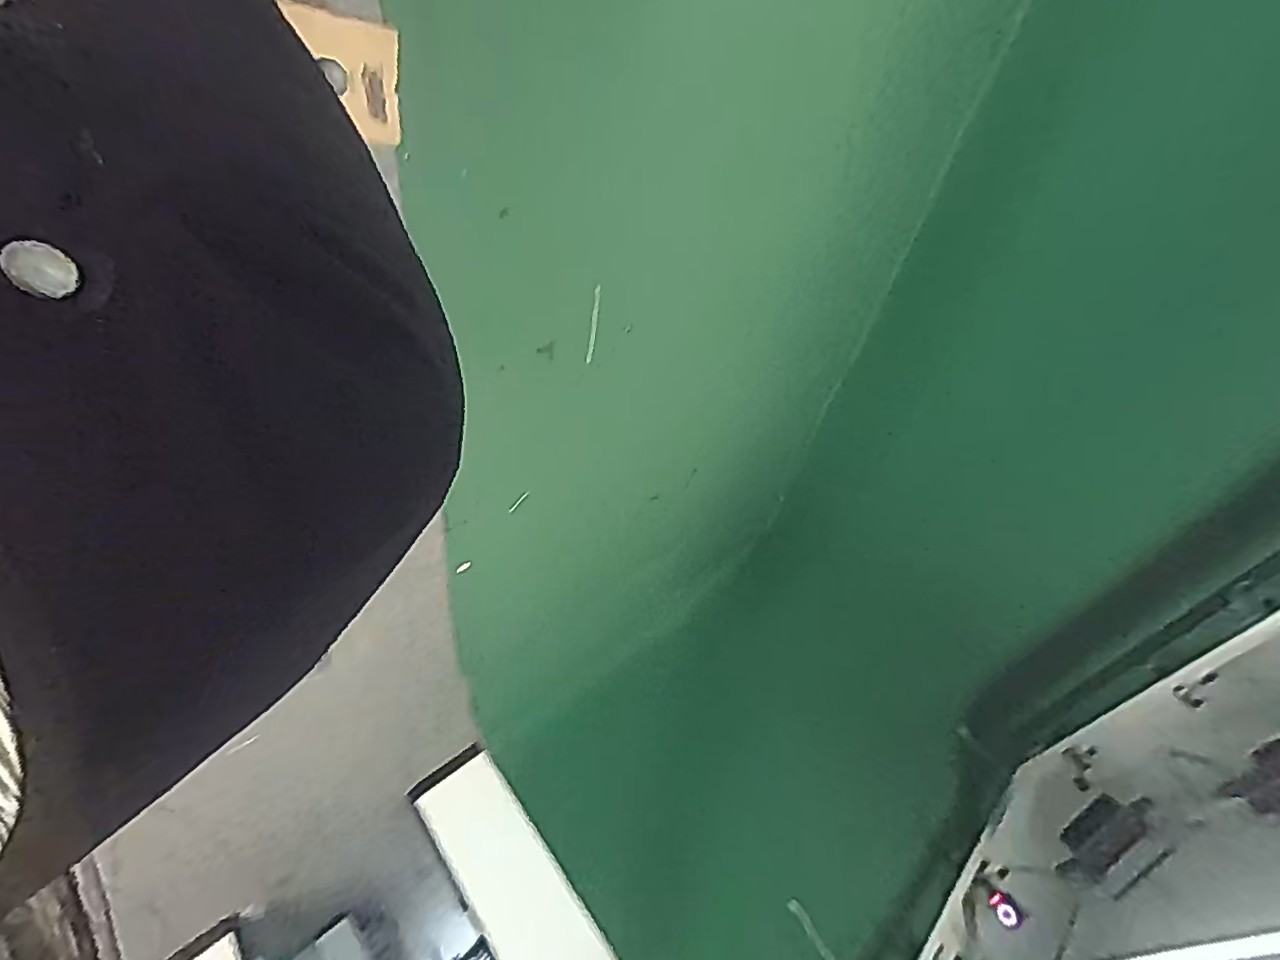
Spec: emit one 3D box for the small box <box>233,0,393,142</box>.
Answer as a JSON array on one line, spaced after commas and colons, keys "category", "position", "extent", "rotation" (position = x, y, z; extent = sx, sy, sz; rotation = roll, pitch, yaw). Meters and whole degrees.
[{"category": "small box", "position": [-0.533, -0.685, 0.893], "extent": [0.179, 0.176, 0.168], "rotation": [-21, 140, -40]}]
